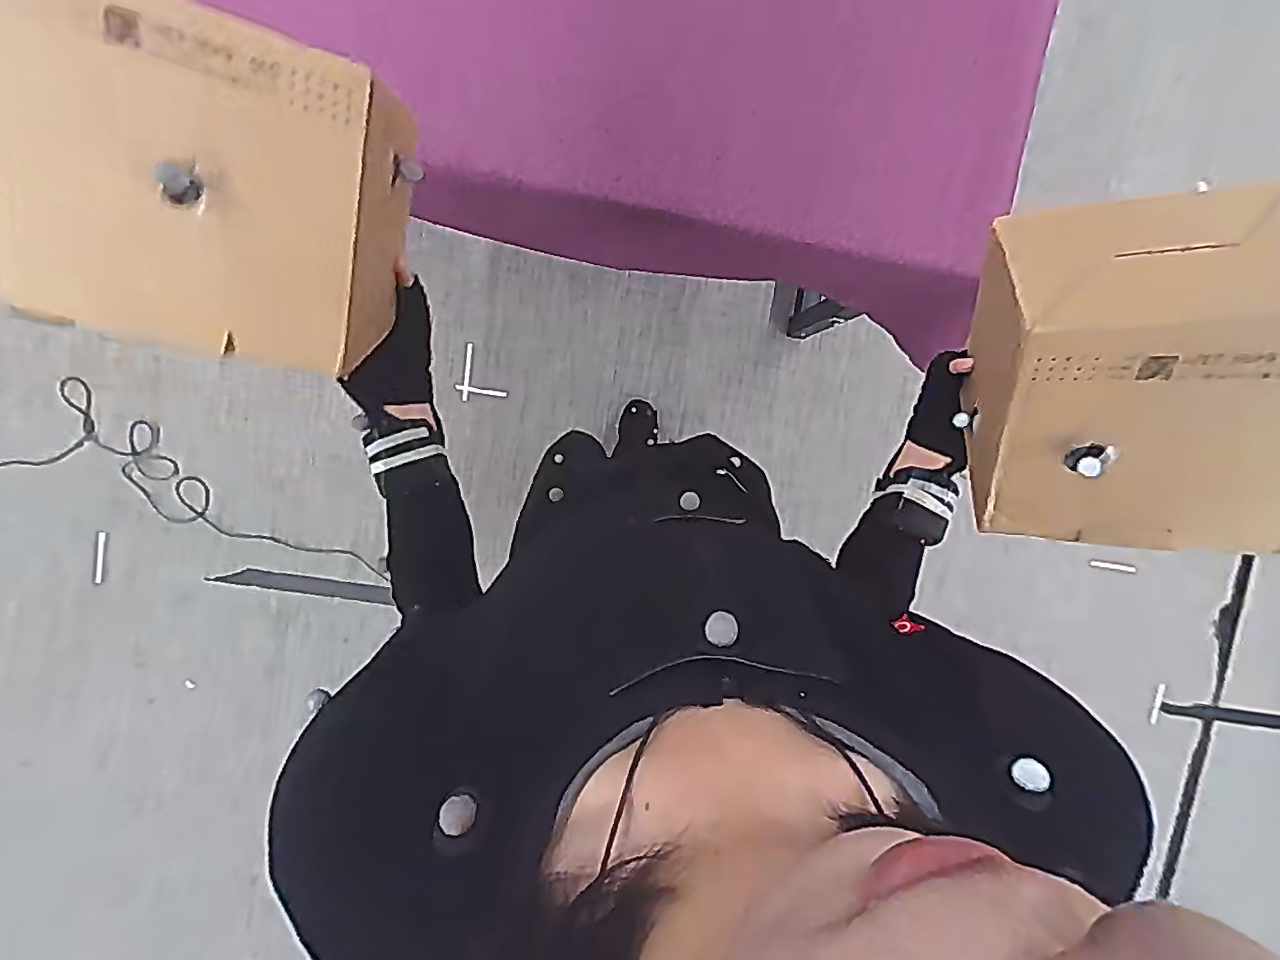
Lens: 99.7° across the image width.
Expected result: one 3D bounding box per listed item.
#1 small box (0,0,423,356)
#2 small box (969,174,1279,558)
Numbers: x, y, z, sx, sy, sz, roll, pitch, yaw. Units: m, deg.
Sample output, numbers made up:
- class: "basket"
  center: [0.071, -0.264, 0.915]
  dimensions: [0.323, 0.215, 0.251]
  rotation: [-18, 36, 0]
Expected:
- class: "small box"
  center: [-0.246, -0.195, 0.344]
  dimensions: [0.168, 0.179, 0.176]
  rotation: [12, 111, -17]
- class: "small box"
  center: [0.329, -0.075, 0.353]
  dimensions: [0.168, 0.179, 0.176]
  rotation: [5, 134, 22]
